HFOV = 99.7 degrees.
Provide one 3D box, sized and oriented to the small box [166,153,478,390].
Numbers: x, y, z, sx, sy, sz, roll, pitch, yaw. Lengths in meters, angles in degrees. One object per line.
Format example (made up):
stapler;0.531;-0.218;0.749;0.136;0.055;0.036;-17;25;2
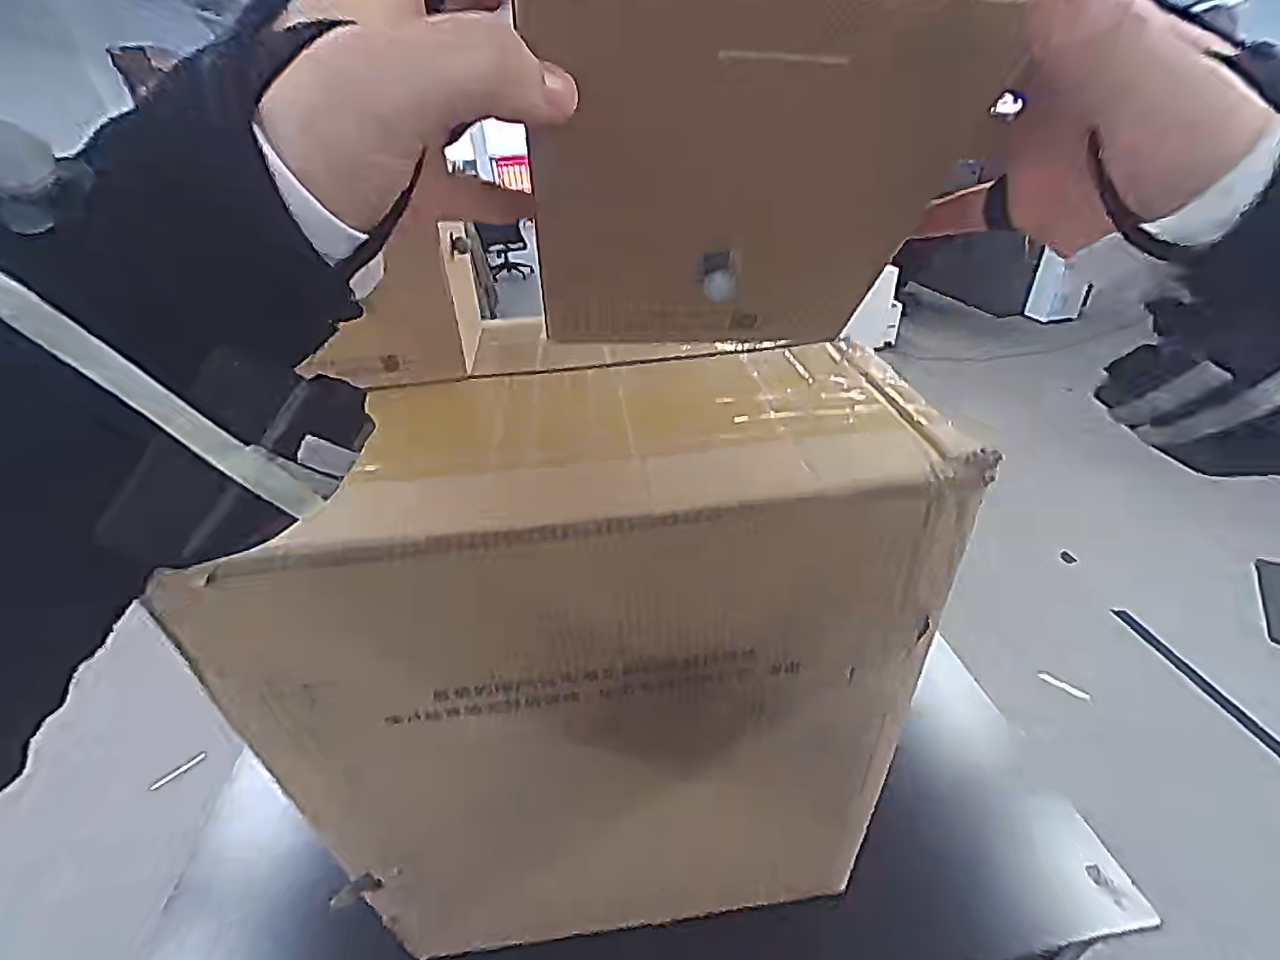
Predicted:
small box;-0.245;-0.184;0.478;0.168;0.176;0.179;-8;31;-8

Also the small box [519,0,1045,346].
small box;0.031;-0.188;0.262;0.168;0.176;0.179;-2;66;-6
